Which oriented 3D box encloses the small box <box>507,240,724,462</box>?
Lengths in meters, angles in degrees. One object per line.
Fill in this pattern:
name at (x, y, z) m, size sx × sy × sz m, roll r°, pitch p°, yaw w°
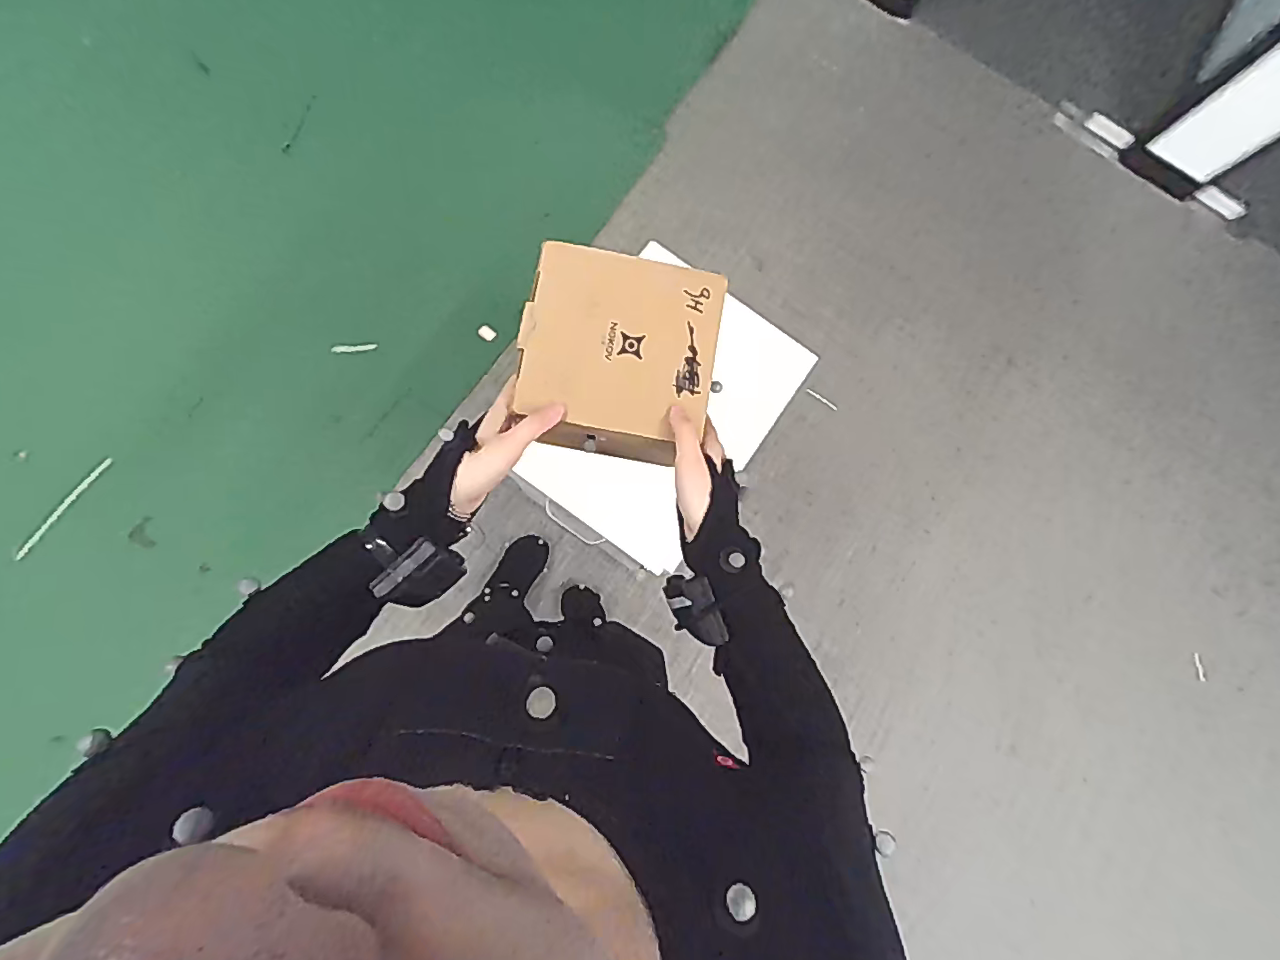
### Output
small box at (-0.025, -0.119, 0.569) m, size 0.179 × 0.176 × 0.168 m, roll 10°, pitch 84°, yaw -3°
